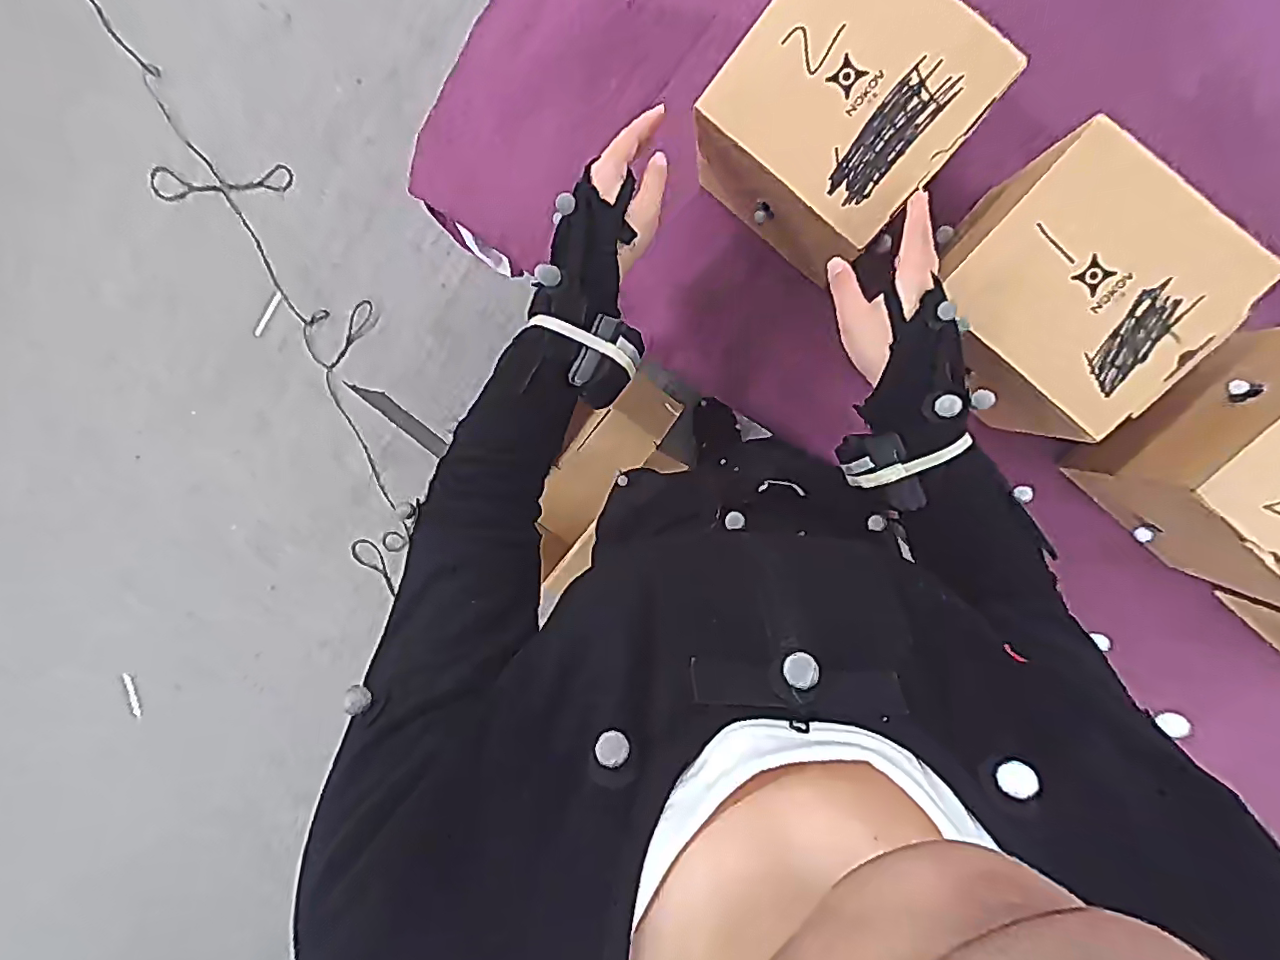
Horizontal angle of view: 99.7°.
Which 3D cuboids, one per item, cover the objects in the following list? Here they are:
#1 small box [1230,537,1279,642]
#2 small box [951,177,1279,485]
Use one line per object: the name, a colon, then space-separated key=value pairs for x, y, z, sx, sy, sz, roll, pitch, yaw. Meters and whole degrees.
small box: x=0.713 y=0.113 z=0.473 sx=0.168 sy=0.176 sz=0.179 roll=42 pitch=102 yaw=0
small box: x=0.398 y=-0.126 z=0.463 sx=0.179 sy=0.176 sz=0.168 roll=21 pitch=142 yaw=8
